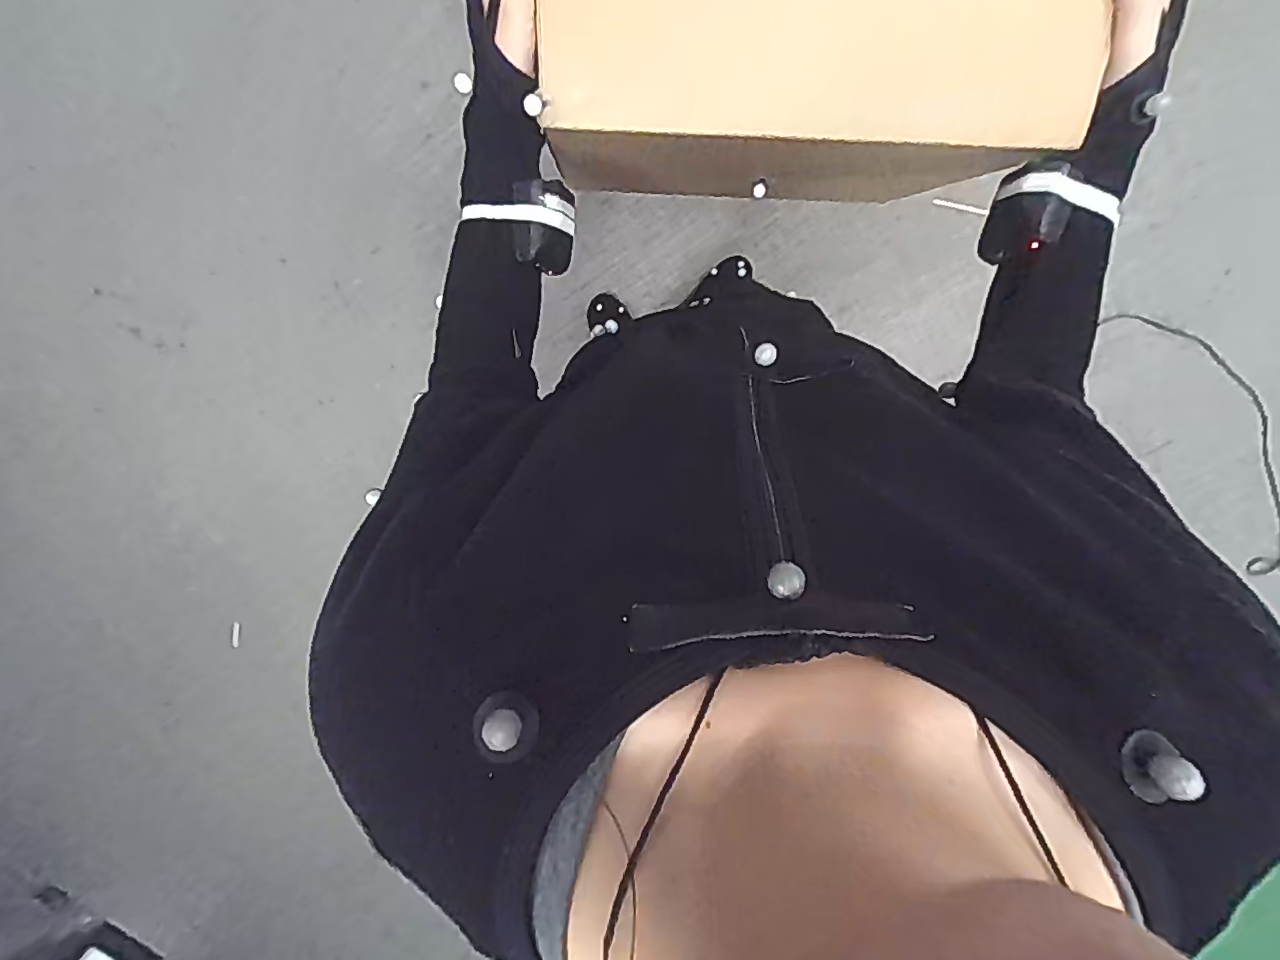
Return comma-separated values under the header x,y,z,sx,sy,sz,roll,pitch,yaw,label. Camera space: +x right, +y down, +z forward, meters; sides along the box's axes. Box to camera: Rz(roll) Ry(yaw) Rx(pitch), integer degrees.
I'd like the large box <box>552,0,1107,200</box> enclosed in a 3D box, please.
x,y,z,sx,sy,sz,roll,pitch,yaw,label
0.135,-0.448,0.498,0.408,0.320,0.320,1,110,-2,large box
